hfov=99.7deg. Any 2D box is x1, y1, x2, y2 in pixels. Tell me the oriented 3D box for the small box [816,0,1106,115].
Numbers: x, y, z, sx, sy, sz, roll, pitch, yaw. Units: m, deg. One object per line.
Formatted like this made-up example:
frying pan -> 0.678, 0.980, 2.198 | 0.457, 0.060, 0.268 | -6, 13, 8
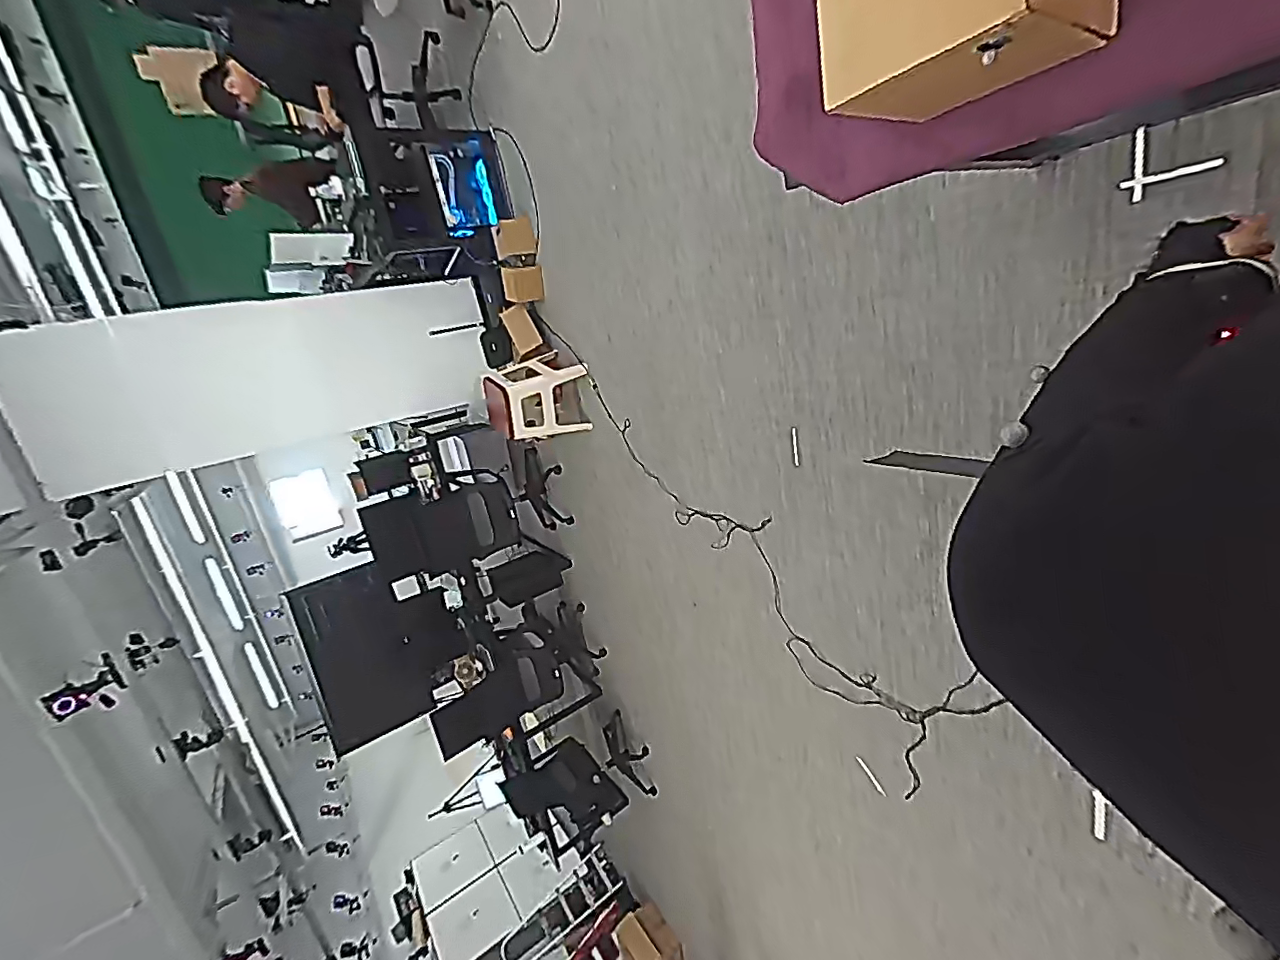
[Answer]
small box -> 0.280, -0.454, 0.484 | 0.179, 0.176, 0.168 | 12, 117, 55
